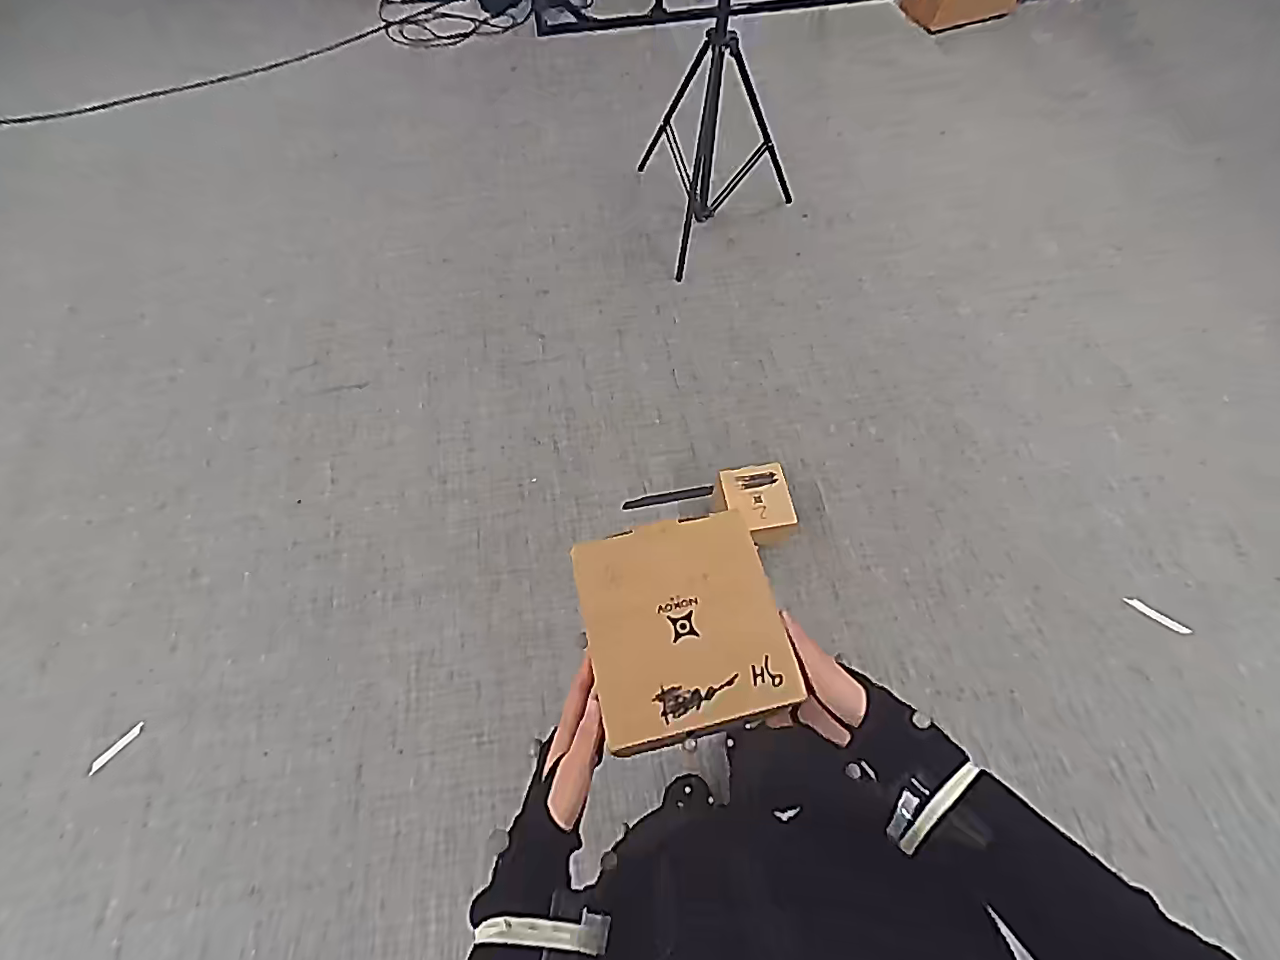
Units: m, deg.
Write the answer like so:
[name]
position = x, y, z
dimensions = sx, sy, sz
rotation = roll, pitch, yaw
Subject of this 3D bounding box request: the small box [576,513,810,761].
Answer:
[small box]
position = 0.037, 0.158, 0.527
dimensions = 0.168, 0.176, 0.179
rotation = -12, 62, -6
